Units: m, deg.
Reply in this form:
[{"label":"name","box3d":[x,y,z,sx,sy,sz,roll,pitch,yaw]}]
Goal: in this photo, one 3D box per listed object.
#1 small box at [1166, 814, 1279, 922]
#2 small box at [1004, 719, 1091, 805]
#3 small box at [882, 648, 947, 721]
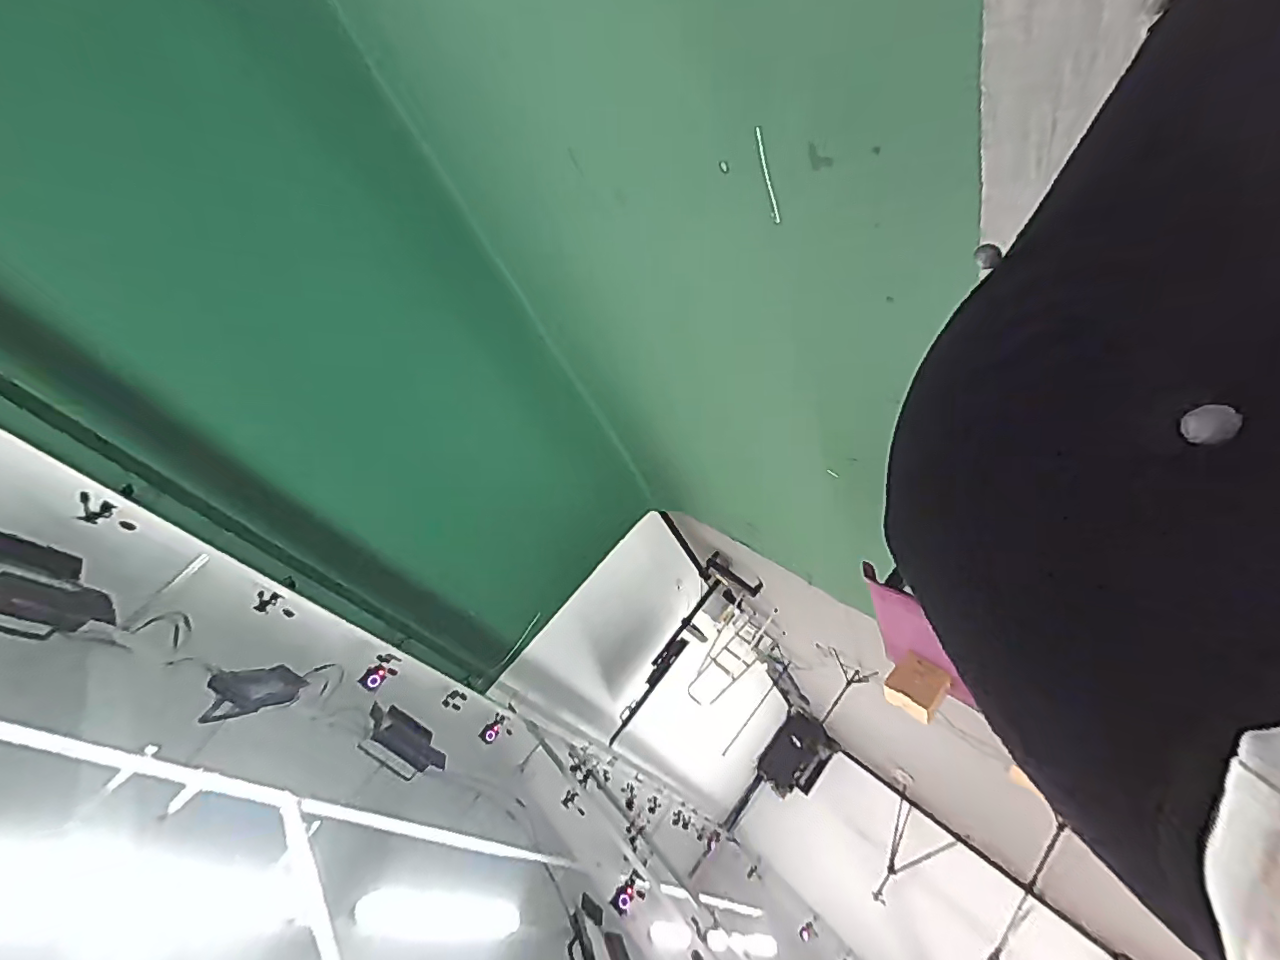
[{"label":"small box","box3d":[1.566,1.029,1.444,0.168,0.176,0.179,28,160,43]},{"label":"small box","box3d":[1.312,0.904,1.744,0.168,0.176,0.179,30,161,41]},{"label":"small box","box3d":[1.035,0.765,2.036,0.168,0.176,0.179,28,157,42]}]
